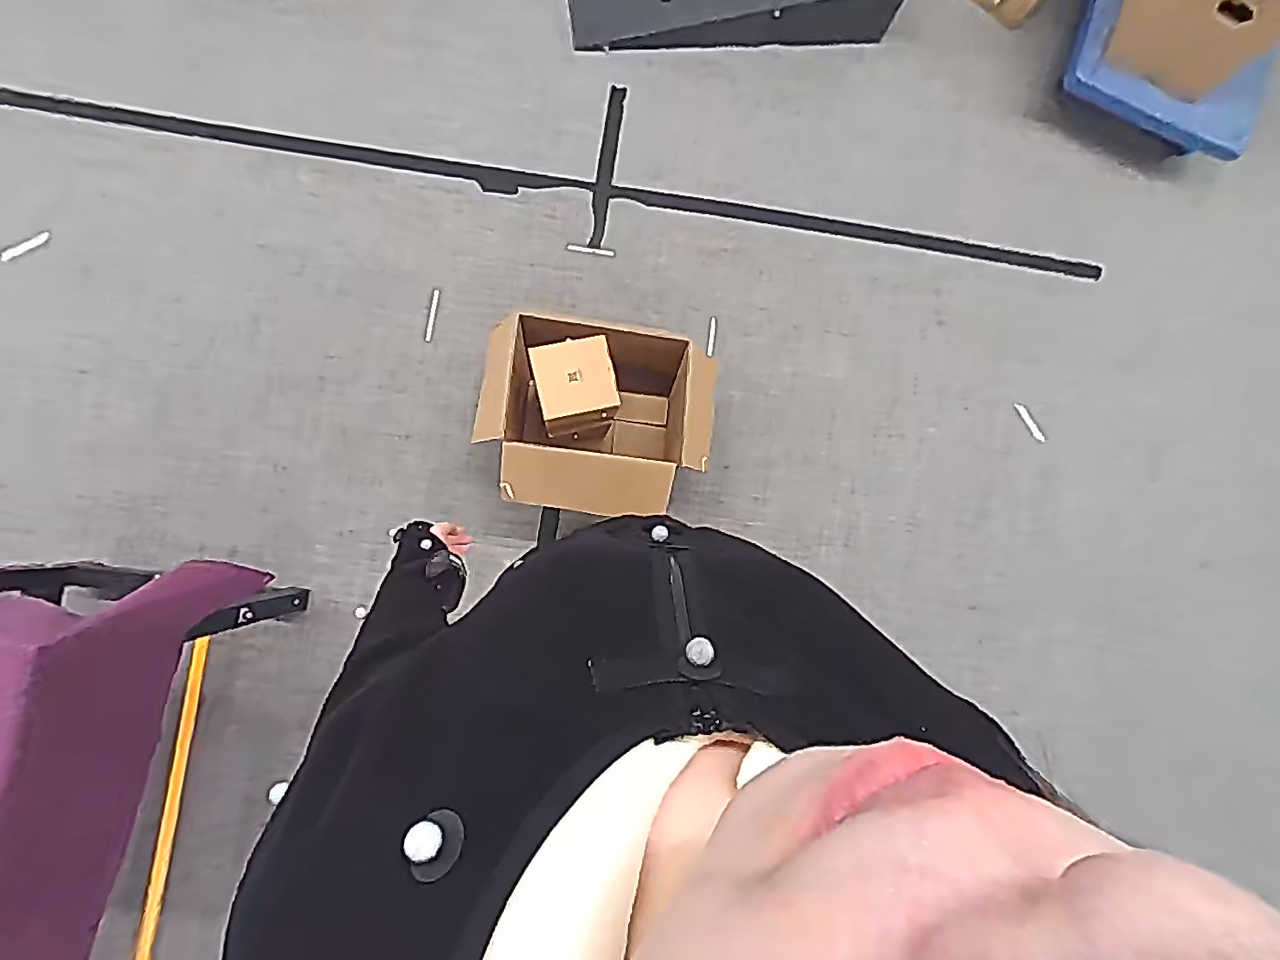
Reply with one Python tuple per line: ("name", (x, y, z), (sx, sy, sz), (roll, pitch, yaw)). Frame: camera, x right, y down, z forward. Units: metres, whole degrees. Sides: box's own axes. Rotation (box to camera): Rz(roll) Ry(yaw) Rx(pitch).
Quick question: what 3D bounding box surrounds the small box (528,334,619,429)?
("small box", (-0.158, -0.225, 1.274), (0.179, 0.176, 0.168), (-13, 88, -10))
